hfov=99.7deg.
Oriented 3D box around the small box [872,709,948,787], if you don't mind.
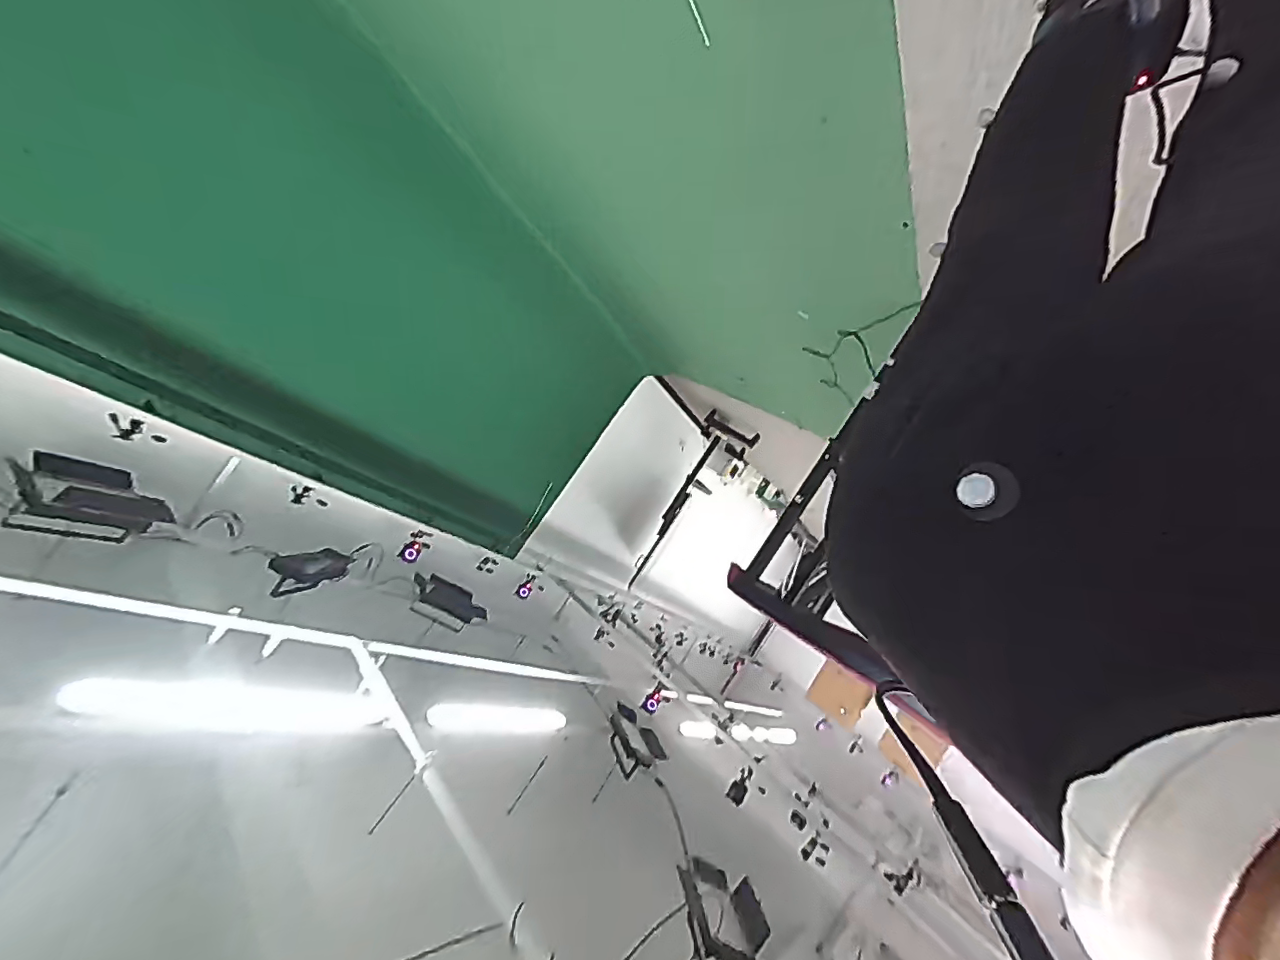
[{"bbox_3d":[0.900,0.885,1.799,0.168,0.176,0.179,33,178,36],"label":"small box"}]
